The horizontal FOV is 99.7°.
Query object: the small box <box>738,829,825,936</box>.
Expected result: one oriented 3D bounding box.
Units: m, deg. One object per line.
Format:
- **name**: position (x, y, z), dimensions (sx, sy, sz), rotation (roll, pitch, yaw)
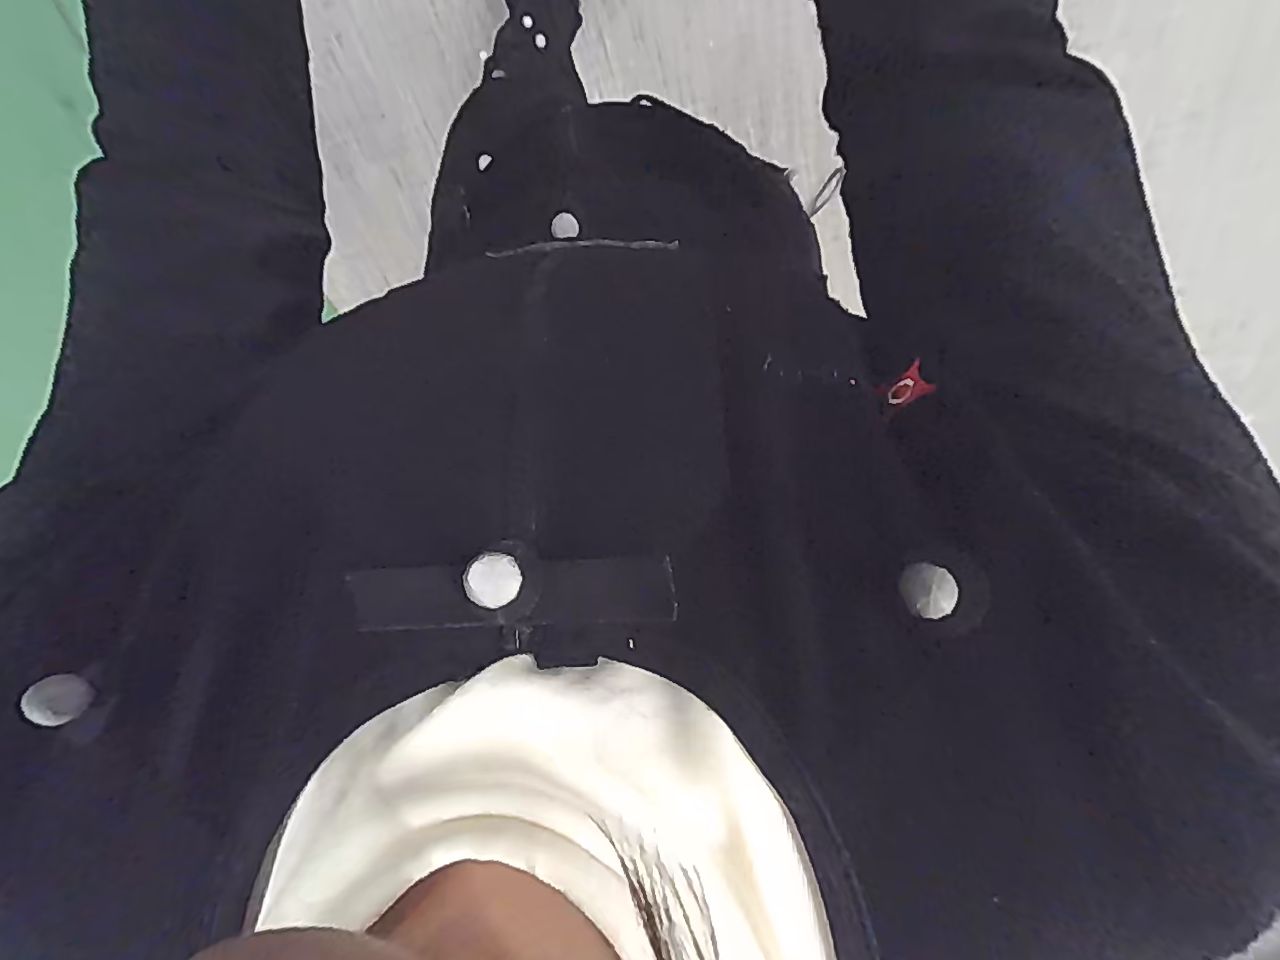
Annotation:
- **small box**: position (0.339, 0.978, 1.318), dimensions (0.179, 0.176, 0.168), rotation (-11, 127, 7)
